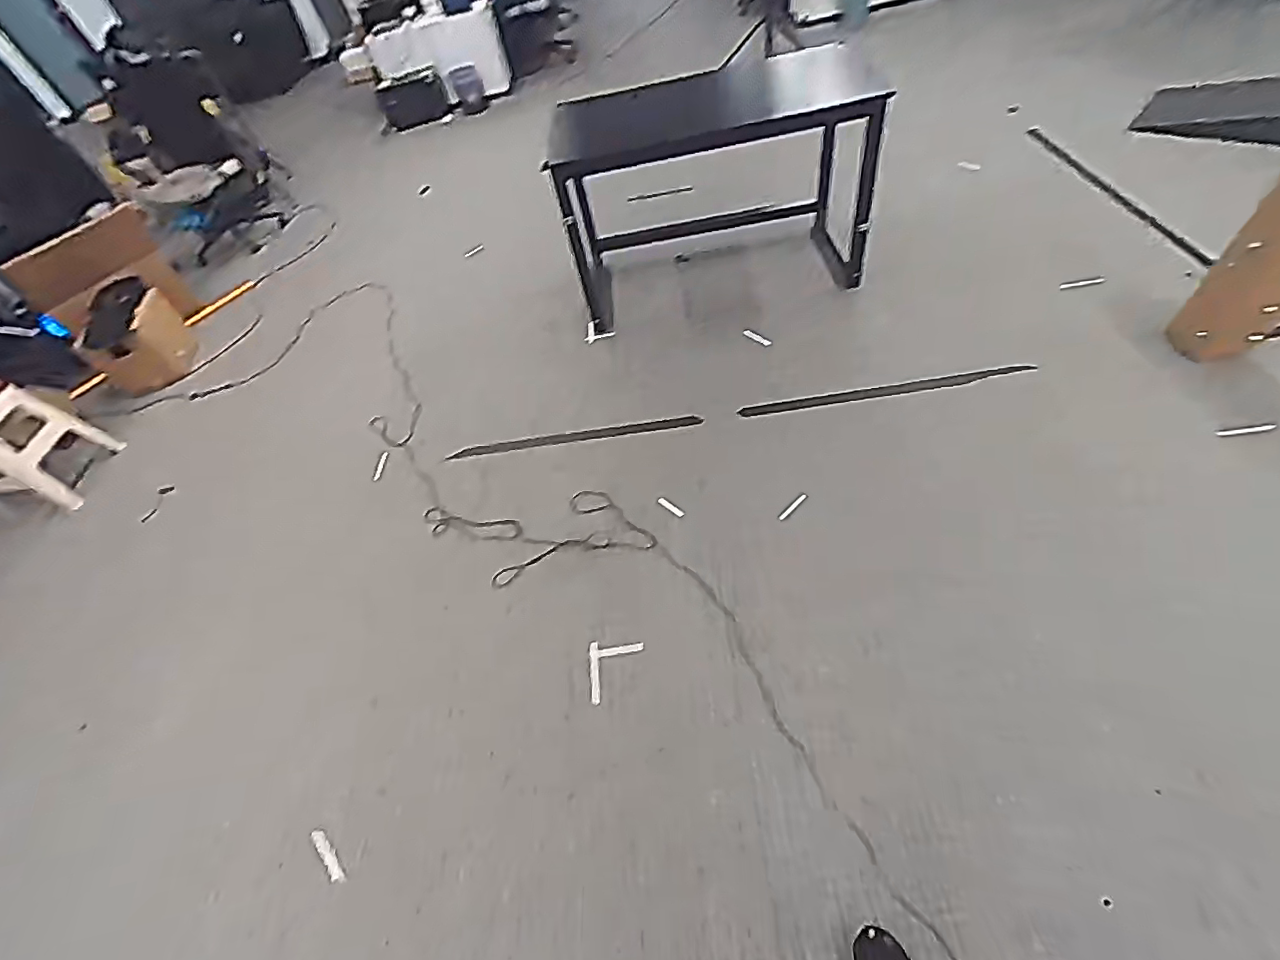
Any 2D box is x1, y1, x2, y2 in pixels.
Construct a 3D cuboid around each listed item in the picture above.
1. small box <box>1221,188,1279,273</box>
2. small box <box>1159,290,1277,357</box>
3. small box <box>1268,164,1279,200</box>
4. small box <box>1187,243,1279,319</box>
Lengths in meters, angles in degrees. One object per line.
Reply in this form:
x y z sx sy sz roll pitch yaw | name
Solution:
1.838 -0.715 1.528 0.179 0.176 0.168 -11 52 5 | small box
1.899 -0.524 1.788 0.168 0.176 0.179 -9 50 6 | small box
1.811 -0.811 1.397 0.179 0.176 0.168 -7 53 7 | small box
1.867 -0.621 1.660 0.179 0.176 0.168 -10 52 4 | small box
